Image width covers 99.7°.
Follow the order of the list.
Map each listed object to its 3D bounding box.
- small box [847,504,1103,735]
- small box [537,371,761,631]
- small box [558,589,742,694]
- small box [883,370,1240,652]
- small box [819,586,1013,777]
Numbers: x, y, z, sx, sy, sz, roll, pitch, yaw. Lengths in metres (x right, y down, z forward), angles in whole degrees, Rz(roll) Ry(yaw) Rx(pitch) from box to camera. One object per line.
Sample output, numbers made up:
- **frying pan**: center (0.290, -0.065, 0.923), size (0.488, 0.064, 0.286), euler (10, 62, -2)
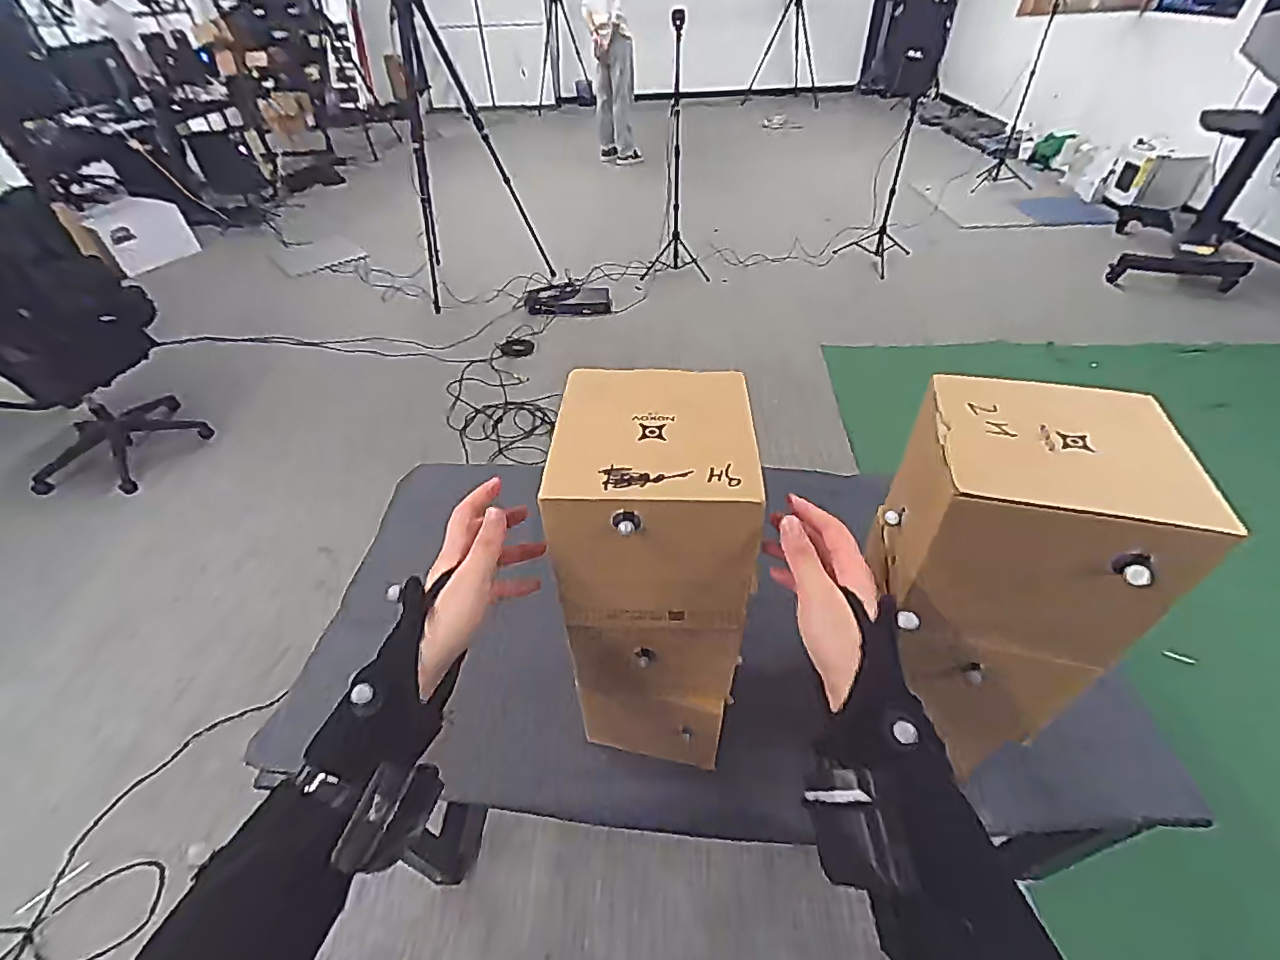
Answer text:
- **small box**: center (0.333, 0.150, 0.583), size (0.179, 0.176, 0.168), euler (7, 44, 13)
- **small box**: center (0.012, 0.016, 0.502), size (0.168, 0.176, 0.179), euler (1, 42, 4)
- **small box**: center (0.017, 0.129, 0.621), size (0.179, 0.176, 0.168), euler (1, 43, 5)
- **small box**: center (0.328, 0.027, 0.473), size (0.179, 0.176, 0.168), euler (9, 44, 14)
- **small box**: center (0.341, 0.259, 0.703), size (0.168, 0.176, 0.179), euler (0, 43, 5)
